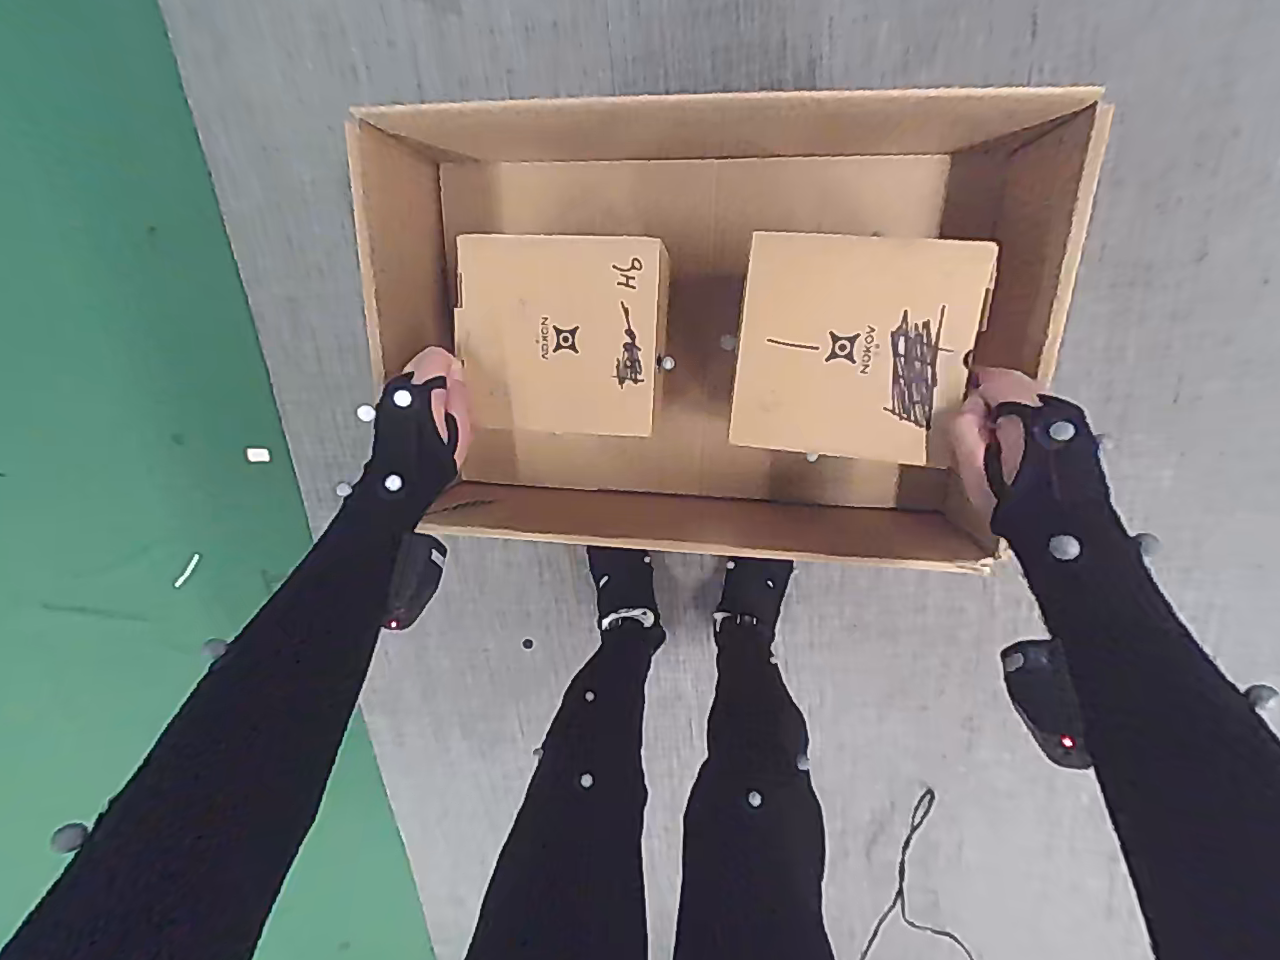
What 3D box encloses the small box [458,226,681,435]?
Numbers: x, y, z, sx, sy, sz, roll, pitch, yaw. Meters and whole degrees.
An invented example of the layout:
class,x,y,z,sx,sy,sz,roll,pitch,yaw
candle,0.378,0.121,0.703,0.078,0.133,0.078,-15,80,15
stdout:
class,x,y,z,sx,sy,sz,roll,pitch,yaw
small box,-0.059,-0.142,0.534,0.179,0.176,0.168,5,104,8
